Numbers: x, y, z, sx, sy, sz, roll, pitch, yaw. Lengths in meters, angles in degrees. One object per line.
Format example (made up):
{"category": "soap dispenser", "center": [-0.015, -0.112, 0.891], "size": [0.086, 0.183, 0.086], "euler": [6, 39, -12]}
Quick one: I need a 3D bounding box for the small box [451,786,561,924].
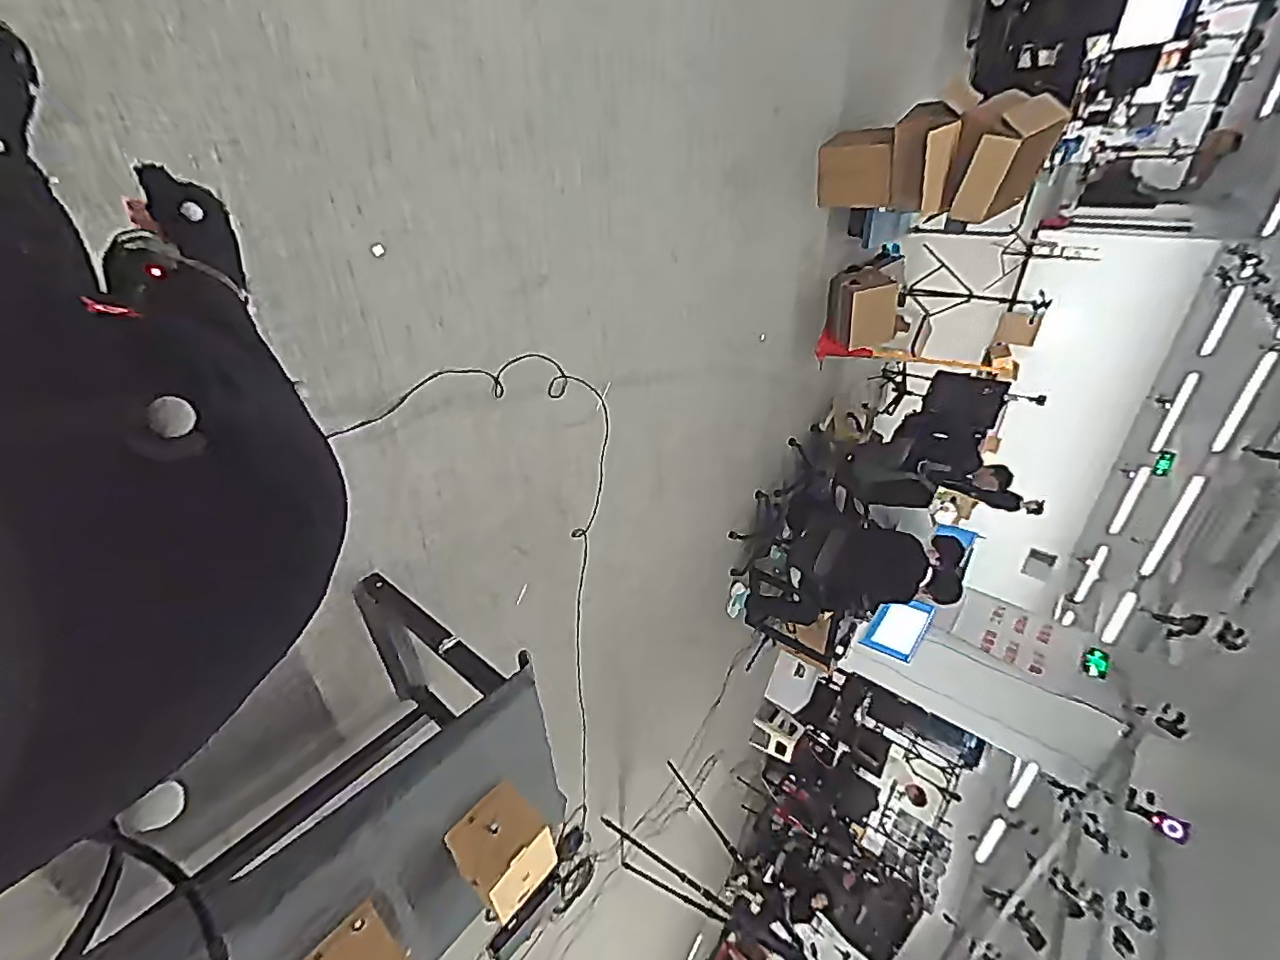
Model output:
{"category": "small box", "center": [-0.307, 0.845, 1.239], "size": [0.168, 0.176, 0.179], "euler": [-34, 132, -38]}

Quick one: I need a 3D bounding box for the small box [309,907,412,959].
{"category": "small box", "center": [-0.522, 0.962, 1.015], "size": [0.168, 0.176, 0.179], "euler": [-31, 132, -41]}
